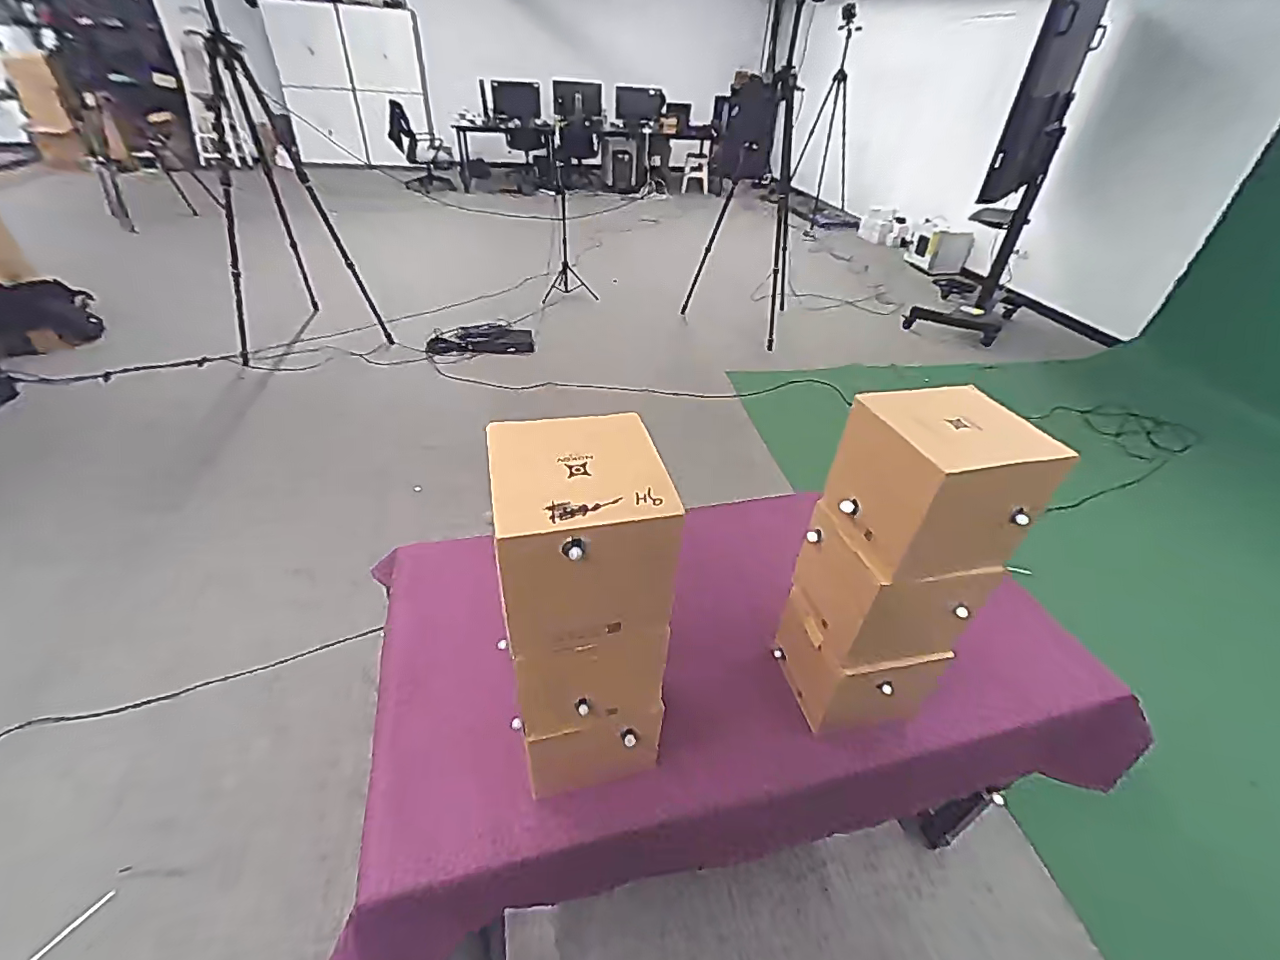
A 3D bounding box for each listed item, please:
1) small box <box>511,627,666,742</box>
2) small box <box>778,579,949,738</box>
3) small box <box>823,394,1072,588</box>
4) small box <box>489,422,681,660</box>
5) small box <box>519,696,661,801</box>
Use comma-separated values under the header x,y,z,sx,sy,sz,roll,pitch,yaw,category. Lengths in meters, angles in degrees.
x,y,z,sx,sy,sz,roll,pitch,yaw,category
-0.076,0.188,0.671,0.168,0.176,0.179,-7,39,-14,small box
0.333,0.281,0.852,0.179,0.176,0.168,-5,38,-12,small box
0.358,0.010,0.668,0.179,0.176,0.168,-6,38,-13,small box
-0.067,0.058,0.570,0.168,0.176,0.179,-6,38,-13,small box
-0.080,0.320,0.767,0.179,0.176,0.168,-7,38,-13,small box
